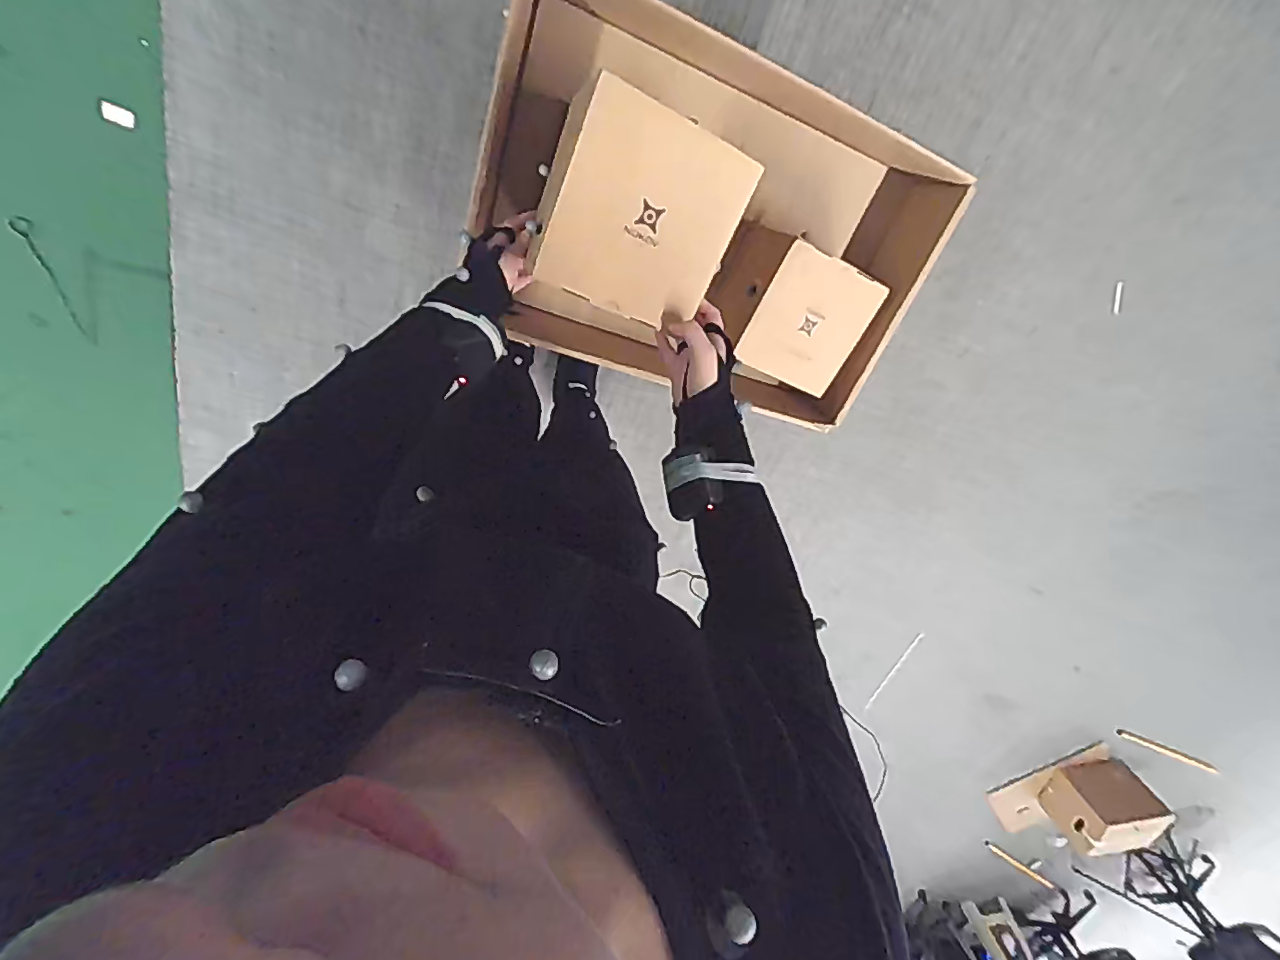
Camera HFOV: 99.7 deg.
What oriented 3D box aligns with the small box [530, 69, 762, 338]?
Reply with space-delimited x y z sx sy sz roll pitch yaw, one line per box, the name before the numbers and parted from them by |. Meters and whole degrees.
small box | -0.011 -0.278 0.562 0.168 0.176 0.179 17 115 -22
